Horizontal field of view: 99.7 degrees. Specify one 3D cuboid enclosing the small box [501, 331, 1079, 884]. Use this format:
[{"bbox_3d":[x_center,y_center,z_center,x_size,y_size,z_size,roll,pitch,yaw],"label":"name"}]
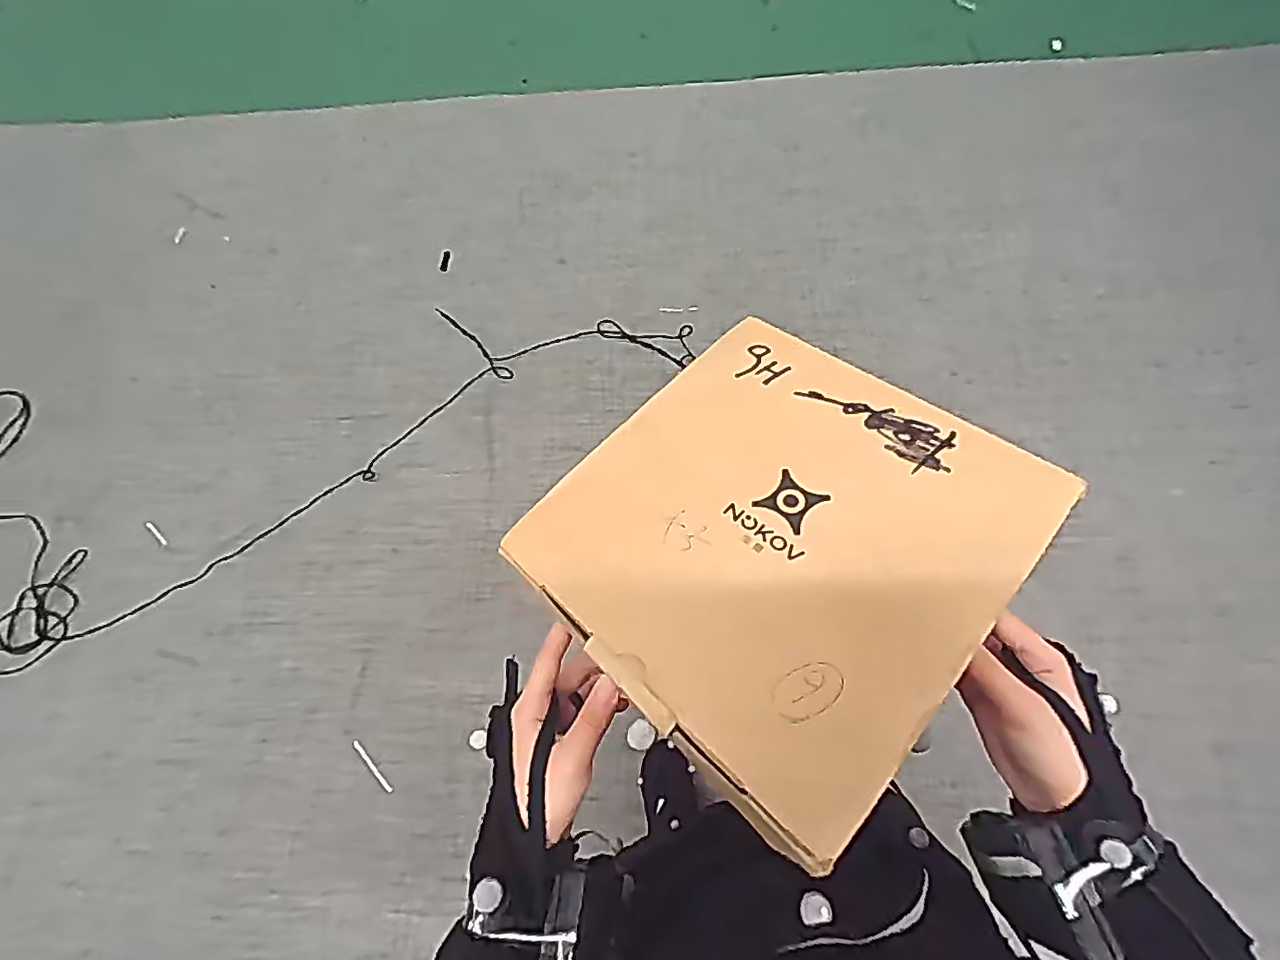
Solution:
[{"bbox_3d":[0.067,0.064,0.286,0.168,0.176,0.179,37,71,28],"label":"small box"}]
